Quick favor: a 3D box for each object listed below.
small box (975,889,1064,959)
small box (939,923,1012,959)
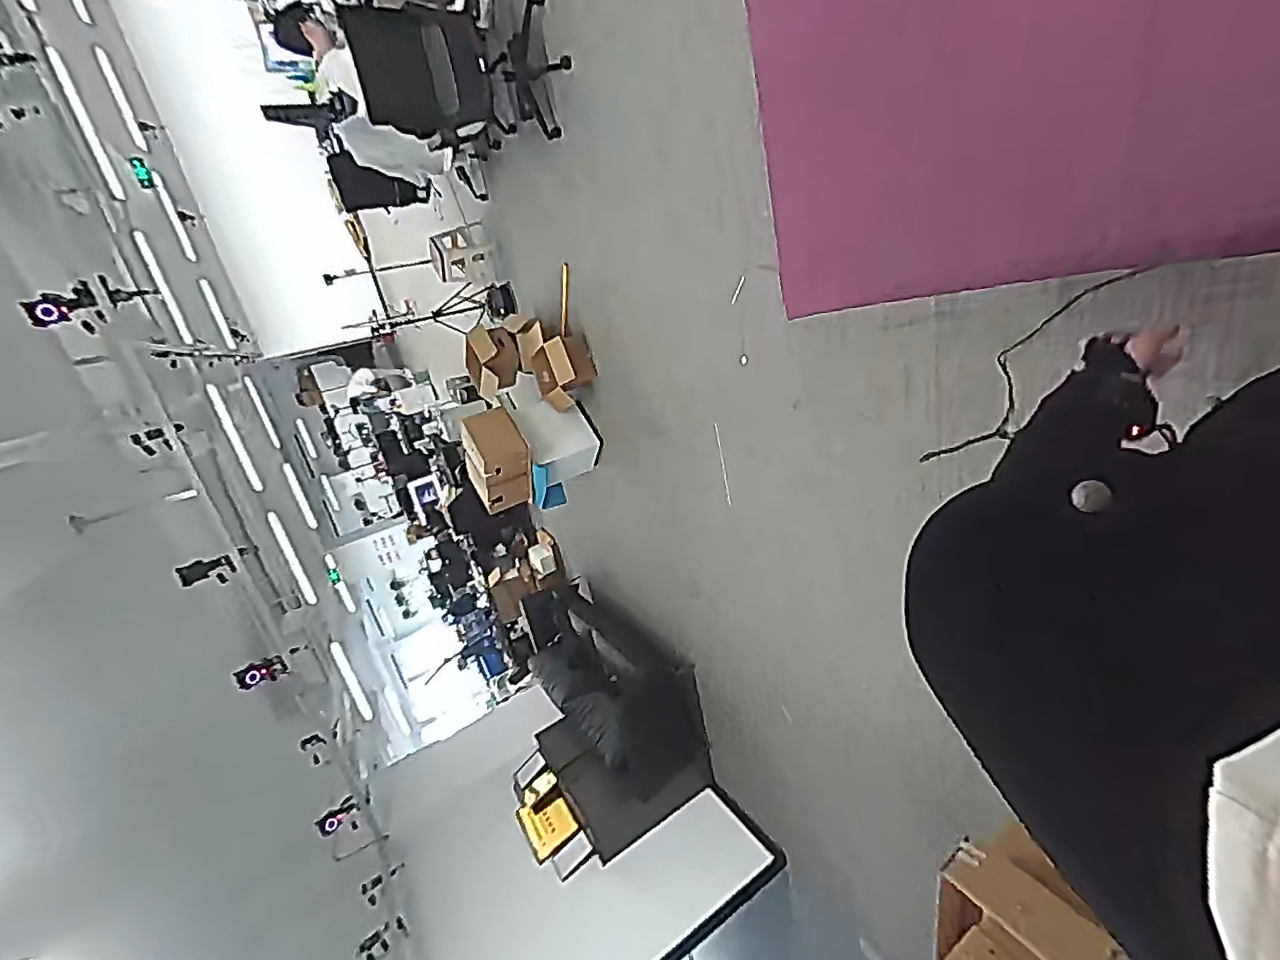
[{"bbox_3d":[1.087,1.347,1.562,0.168,0.176,0.179,26,134,55],"label":"small box"},{"bbox_3d":[0.945,1.393,1.497,0.168,0.176,0.179,30,136,54],"label":"small box"}]
